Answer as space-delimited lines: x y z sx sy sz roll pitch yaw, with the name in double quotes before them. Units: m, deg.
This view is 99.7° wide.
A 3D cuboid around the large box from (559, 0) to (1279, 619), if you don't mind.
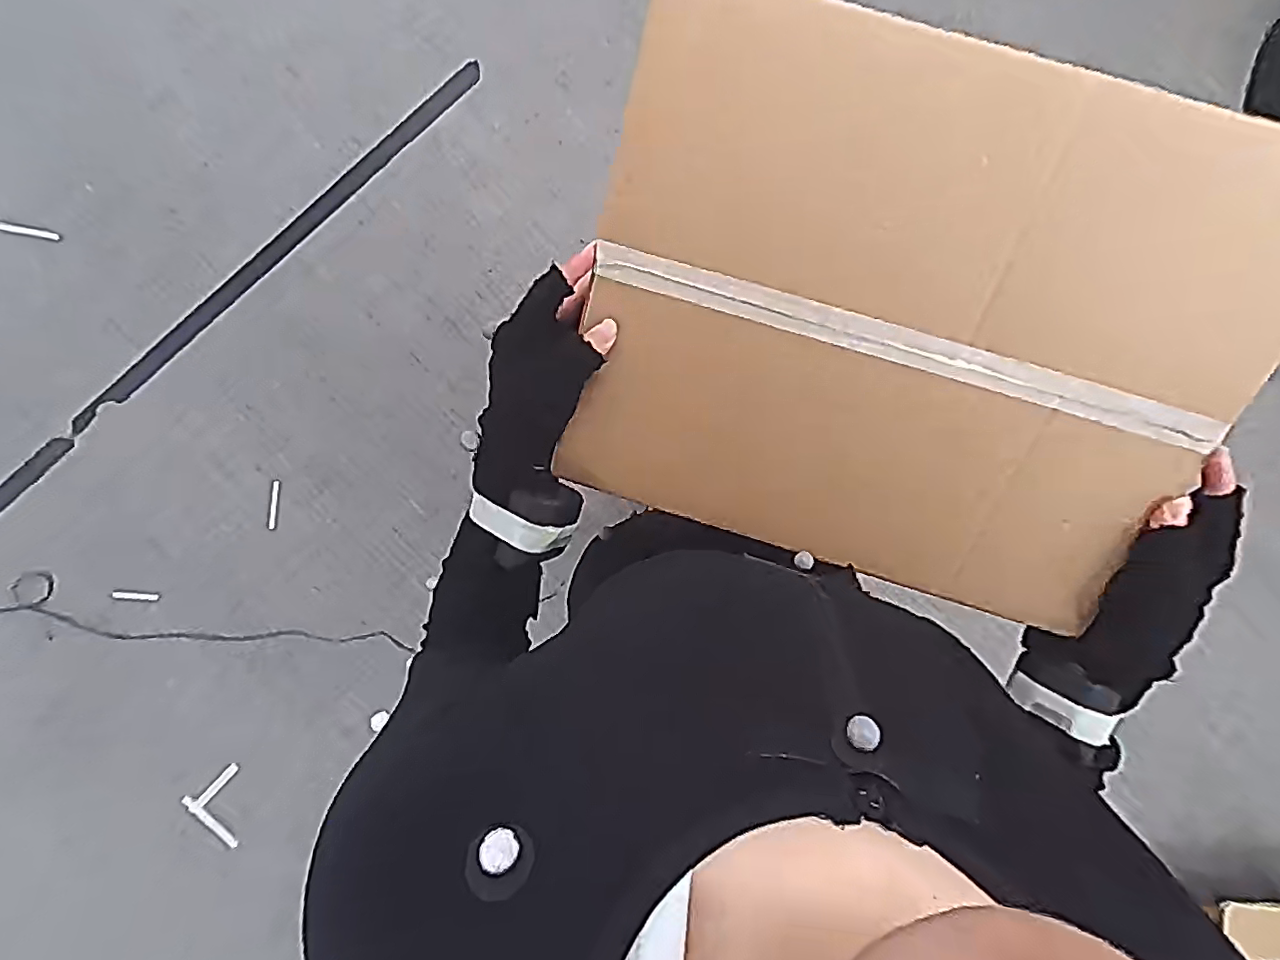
"large box" 0.181 -0.137 0.491 0.408 0.320 0.320 17 112 1
